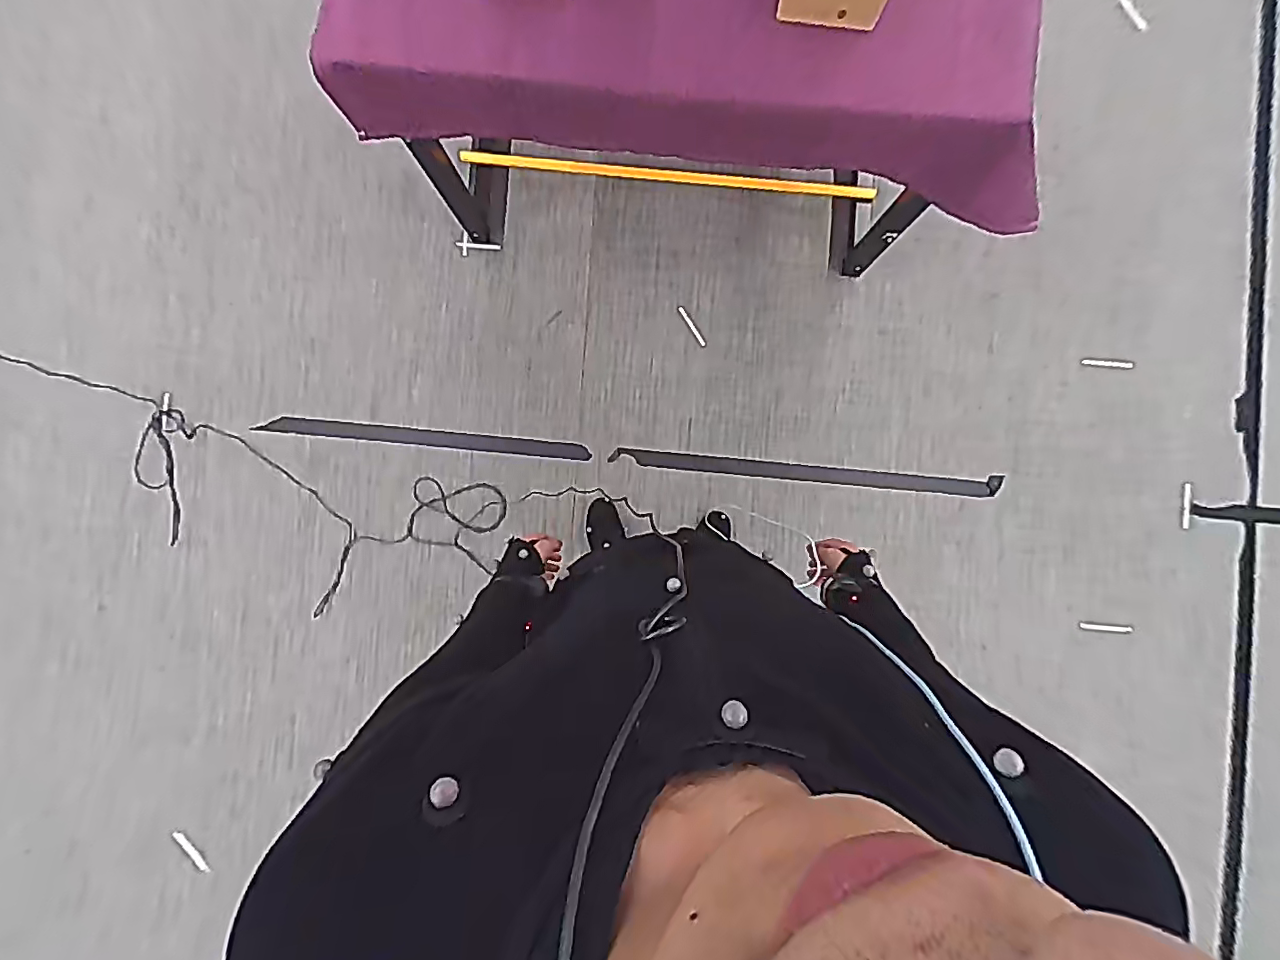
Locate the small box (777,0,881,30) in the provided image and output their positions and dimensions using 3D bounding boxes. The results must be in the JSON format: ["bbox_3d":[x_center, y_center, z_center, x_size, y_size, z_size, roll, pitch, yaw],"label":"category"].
[{"bbox_3d":[0.321,-0.863,0.851,0.168,0.176,0.179,7,88,0],"label":"small box"}]

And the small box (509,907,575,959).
[{"bbox_3d":[-0.279,1.369,1.547,0.168,0.176,0.179,1,90,0],"label":"small box"}]
